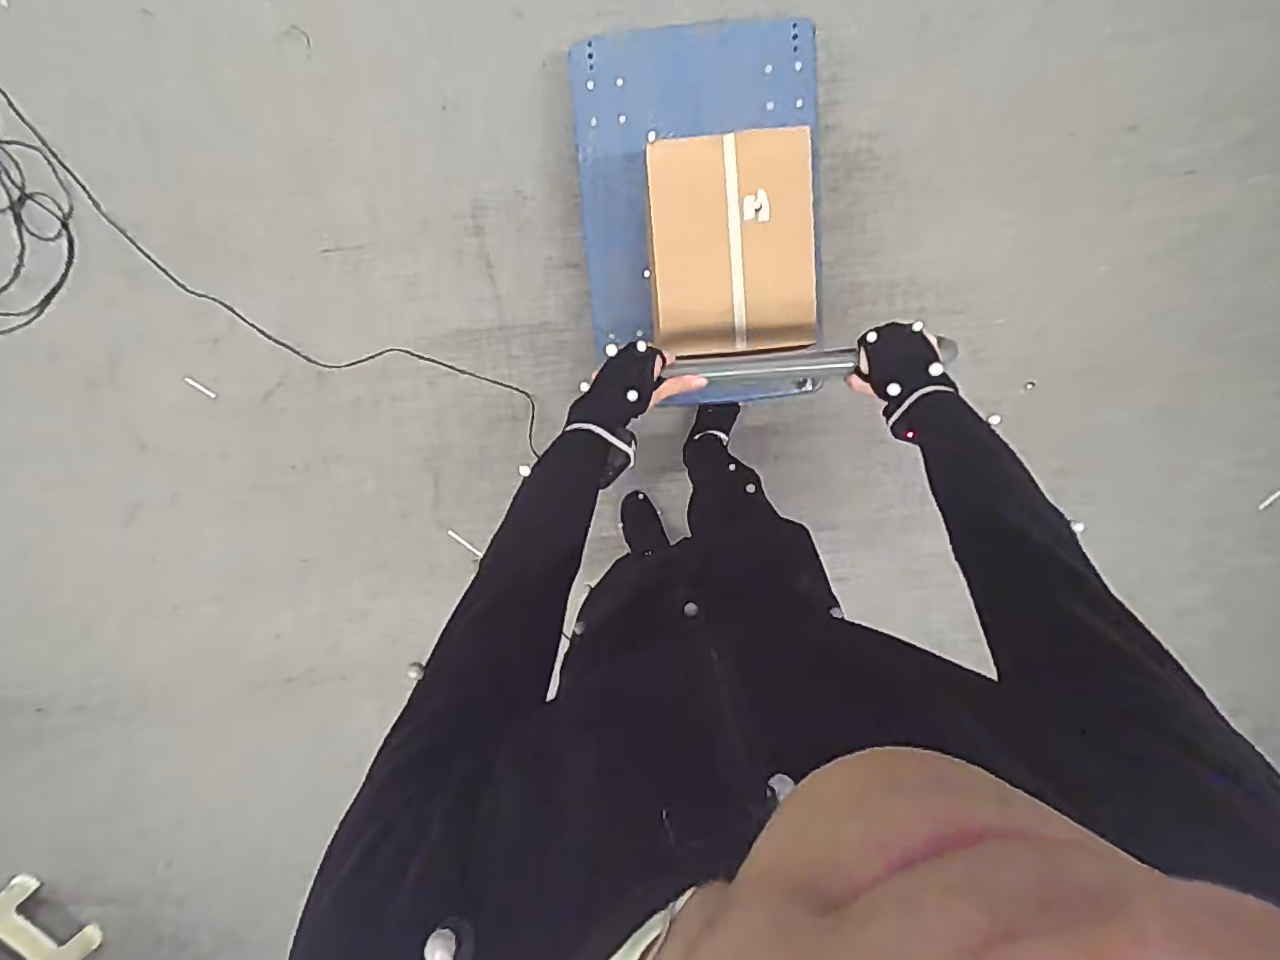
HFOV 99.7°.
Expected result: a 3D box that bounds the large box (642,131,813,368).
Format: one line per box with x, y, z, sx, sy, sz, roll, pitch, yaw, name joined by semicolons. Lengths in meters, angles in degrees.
0.178;-0.477;1.208;0.320;0.320;0.408;-5;98;0;large box
